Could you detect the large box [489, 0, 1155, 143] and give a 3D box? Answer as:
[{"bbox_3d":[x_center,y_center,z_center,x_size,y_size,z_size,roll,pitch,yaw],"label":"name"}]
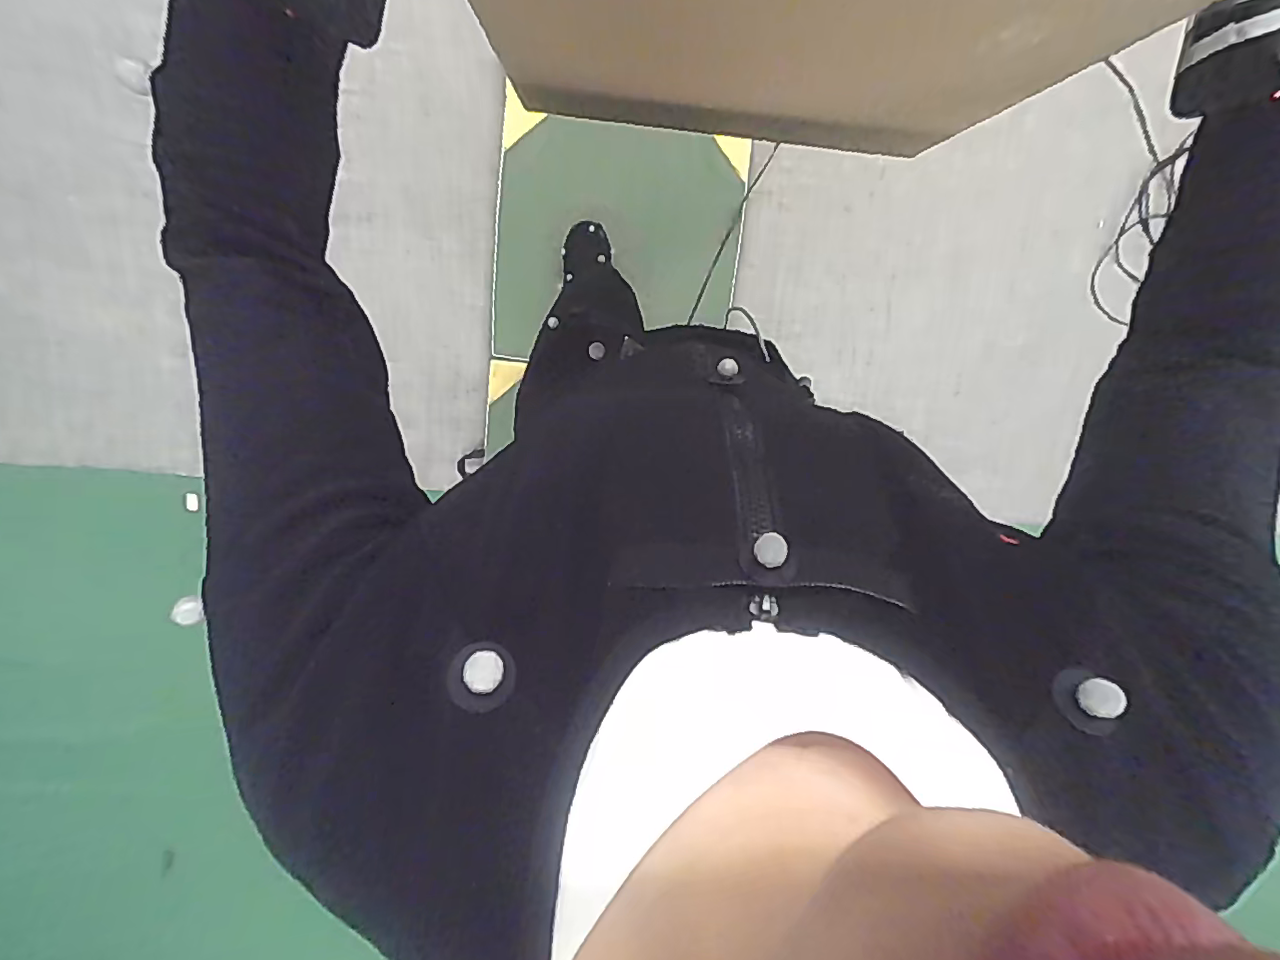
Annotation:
[{"bbox_3d":[0.102,-0.458,0.363,0.408,0.320,0.320,4,108,-4],"label":"large box"}]
